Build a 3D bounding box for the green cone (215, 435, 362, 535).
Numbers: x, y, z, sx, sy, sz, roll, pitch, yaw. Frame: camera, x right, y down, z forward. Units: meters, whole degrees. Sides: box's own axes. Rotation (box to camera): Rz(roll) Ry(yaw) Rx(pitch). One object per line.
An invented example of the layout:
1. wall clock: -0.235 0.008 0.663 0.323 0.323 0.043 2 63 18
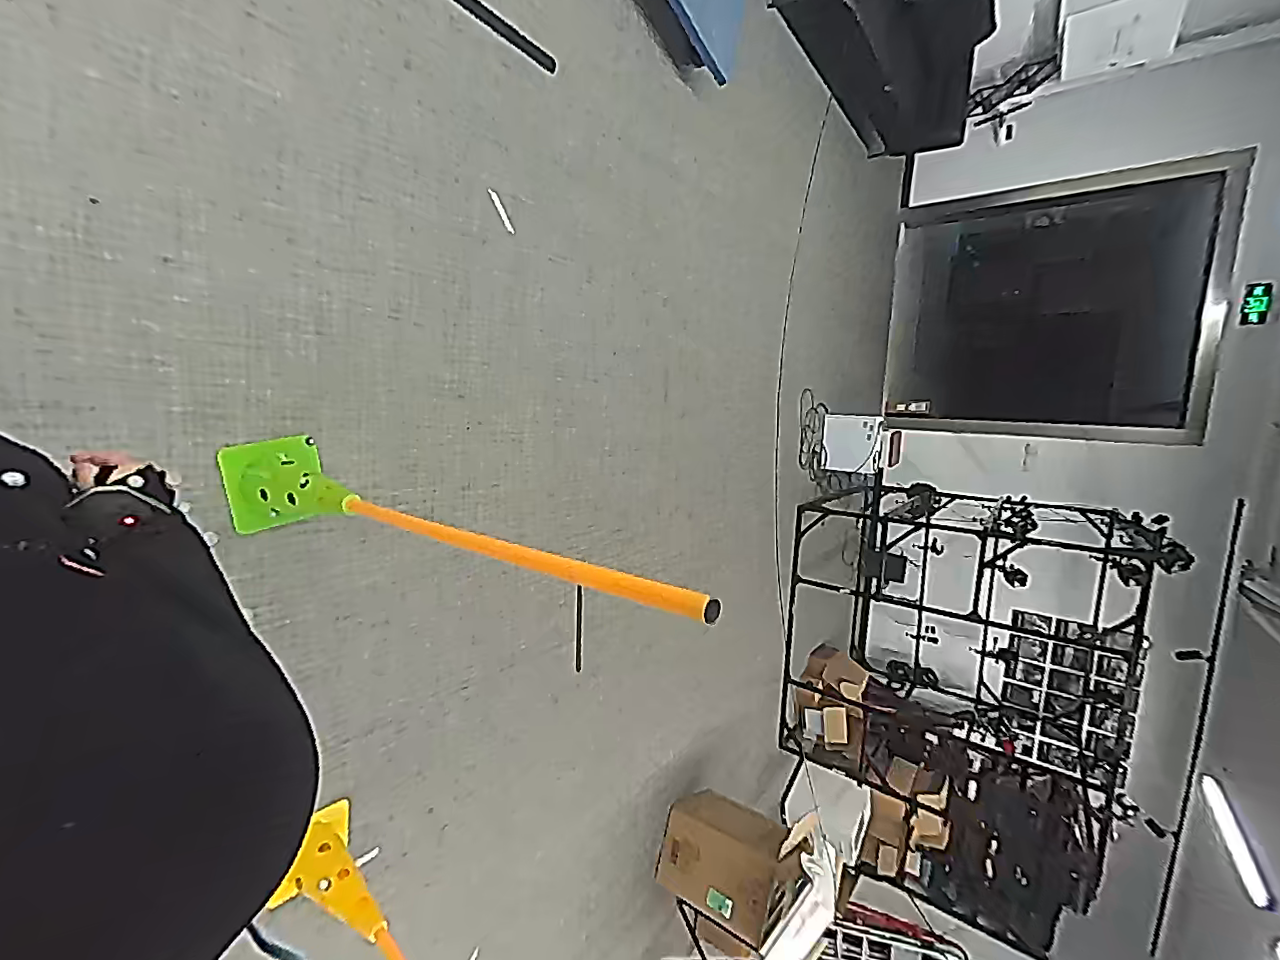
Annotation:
1. green cone: -0.704 0.032 1.143 0.200 0.368 0.202 -23 116 -50
